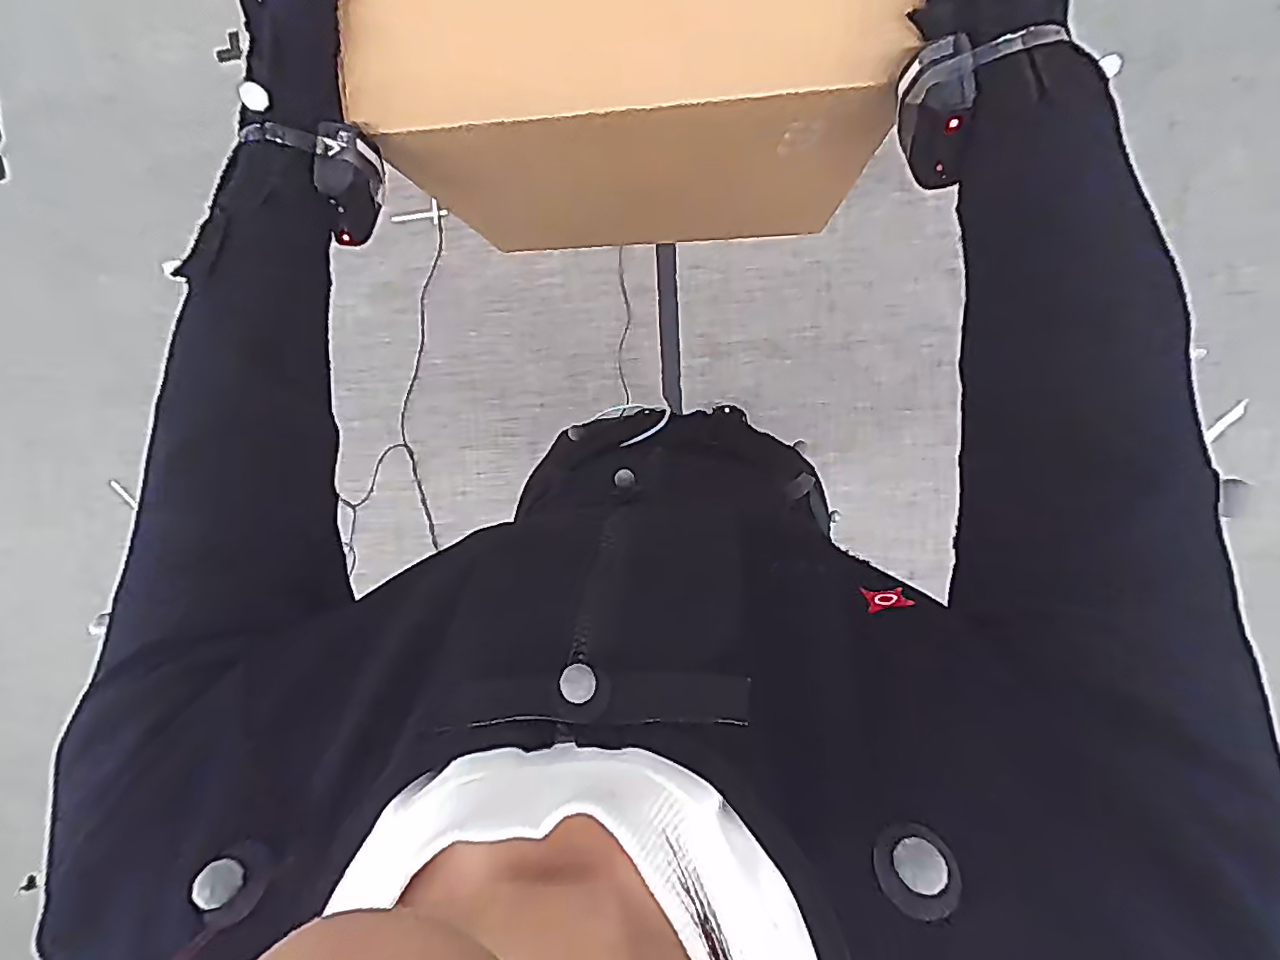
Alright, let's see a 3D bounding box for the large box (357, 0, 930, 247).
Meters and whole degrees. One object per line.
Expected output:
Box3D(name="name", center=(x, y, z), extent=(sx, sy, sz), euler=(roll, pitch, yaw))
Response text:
Box3D(name="large box", center=(0.002, -0.437, 0.511), extent=(0.408, 0.320, 0.320), euler=(-2, 98, 6))
